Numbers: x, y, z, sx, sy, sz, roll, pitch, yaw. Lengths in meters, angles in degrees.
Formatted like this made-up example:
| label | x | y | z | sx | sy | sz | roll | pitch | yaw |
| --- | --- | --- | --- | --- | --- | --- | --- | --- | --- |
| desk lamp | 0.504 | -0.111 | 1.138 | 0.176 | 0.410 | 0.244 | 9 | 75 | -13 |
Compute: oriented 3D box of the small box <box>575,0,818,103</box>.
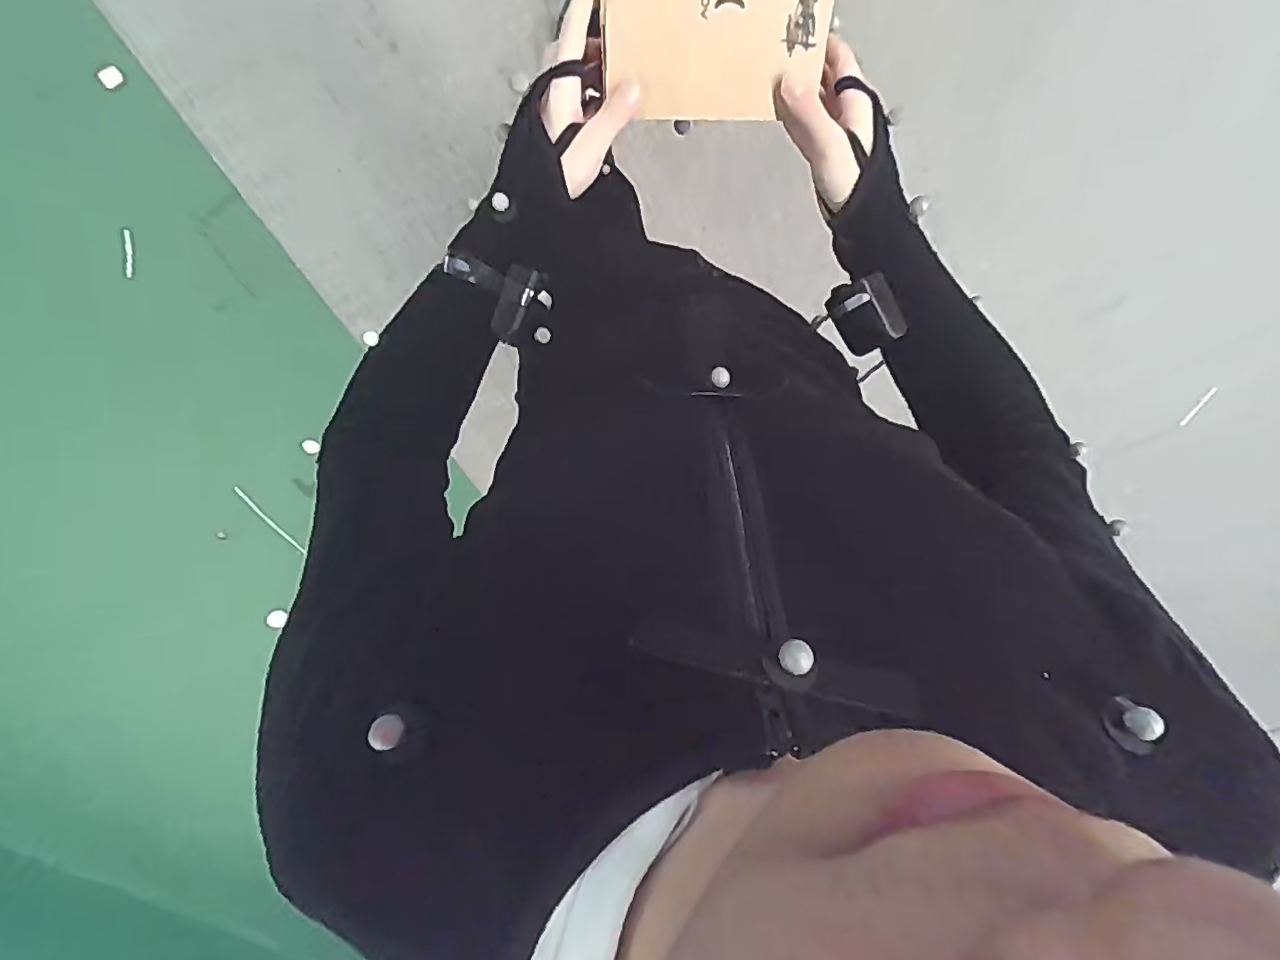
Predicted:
| label | x | y | z | sx | sy | sz | roll | pitch | yaw |
| --- | --- | --- | --- | --- | --- | --- | --- | --- | --- |
| small box | 0.041 | -0.411 | 0.435 | 0.179 | 0.176 | 0.168 | 2 | 127 | -3 |
